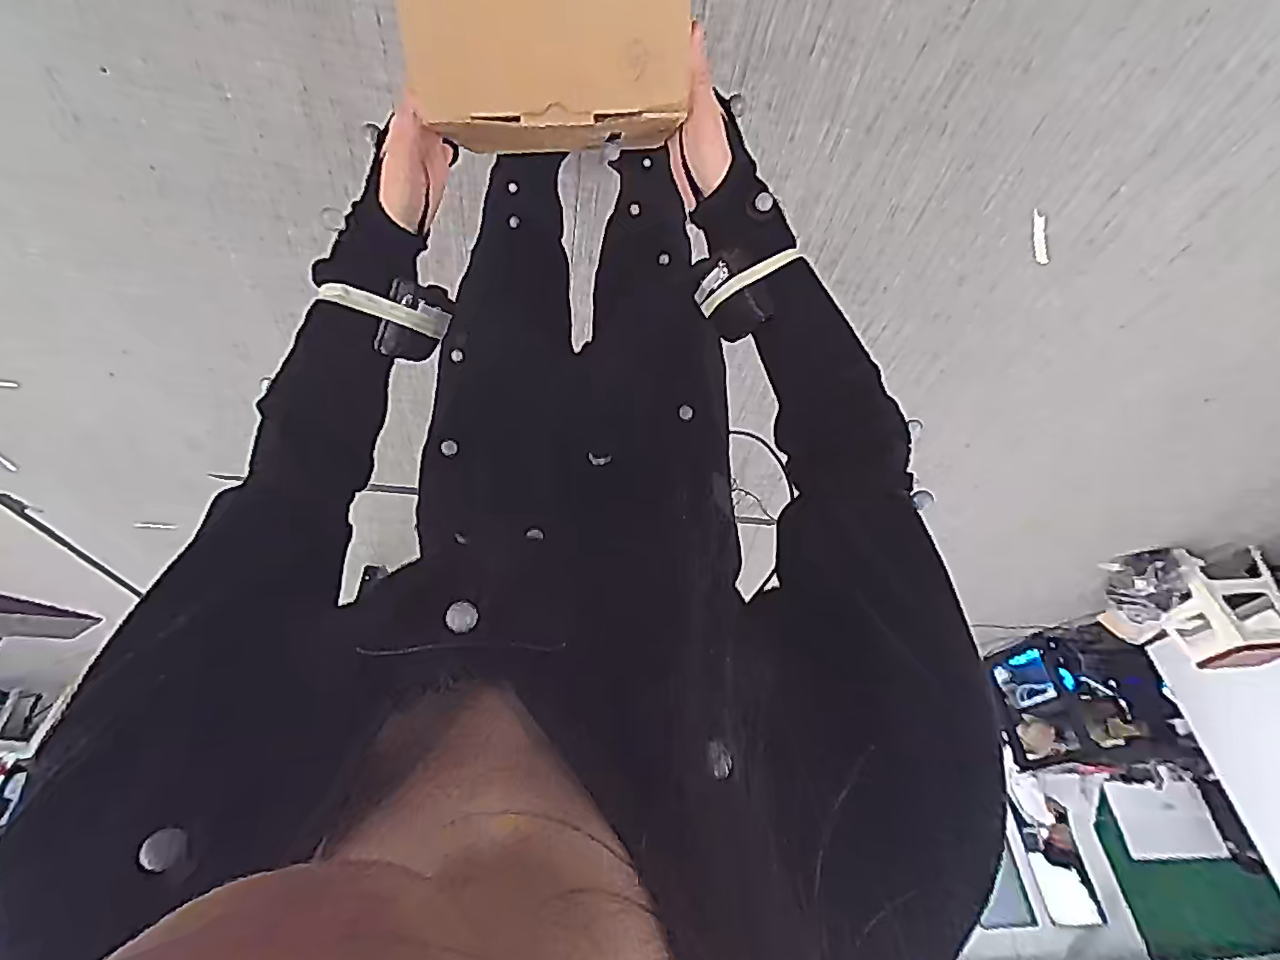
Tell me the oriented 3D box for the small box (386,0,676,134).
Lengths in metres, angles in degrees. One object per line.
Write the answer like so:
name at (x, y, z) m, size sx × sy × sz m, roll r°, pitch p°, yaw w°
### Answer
small box at (-0.067, -0.340, 0.359) m, size 0.168 × 0.176 × 0.179 m, roll -4°, pitch 116°, yaw -4°
